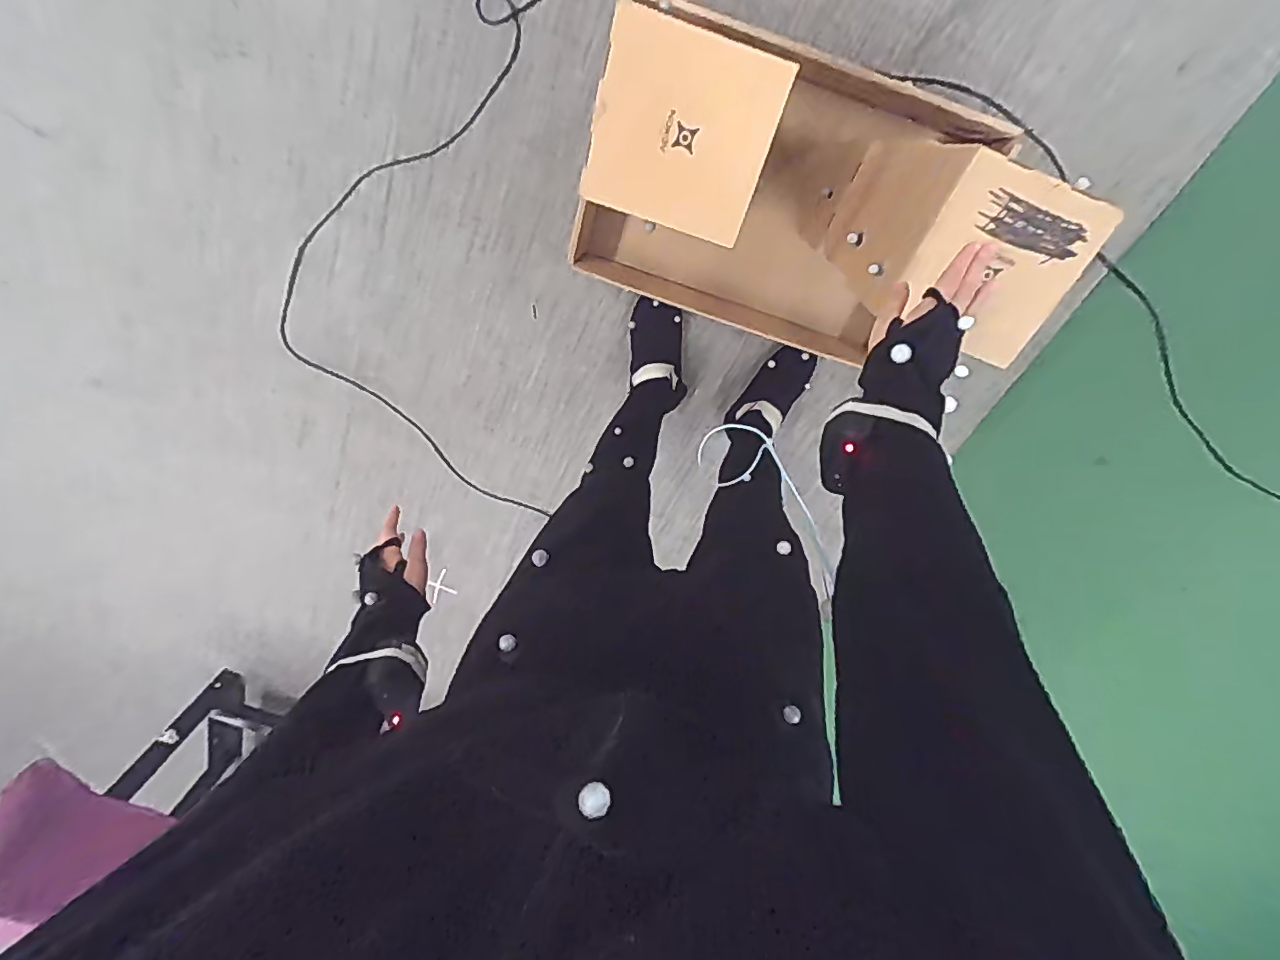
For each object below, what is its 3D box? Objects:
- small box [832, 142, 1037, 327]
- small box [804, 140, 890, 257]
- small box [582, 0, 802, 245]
[{"bbox_3d":[0.395,-0.350,0.768,0.168,0.176,0.179,22,120,-8],"label":"small box"},{"bbox_3d":[0.397,-0.440,0.907,0.179,0.176,0.168,22,121,-6],"label":"small box"},{"bbox_3d":[0.053,-0.385,0.597,0.179,0.176,0.168,18,123,-4],"label":"small box"}]
